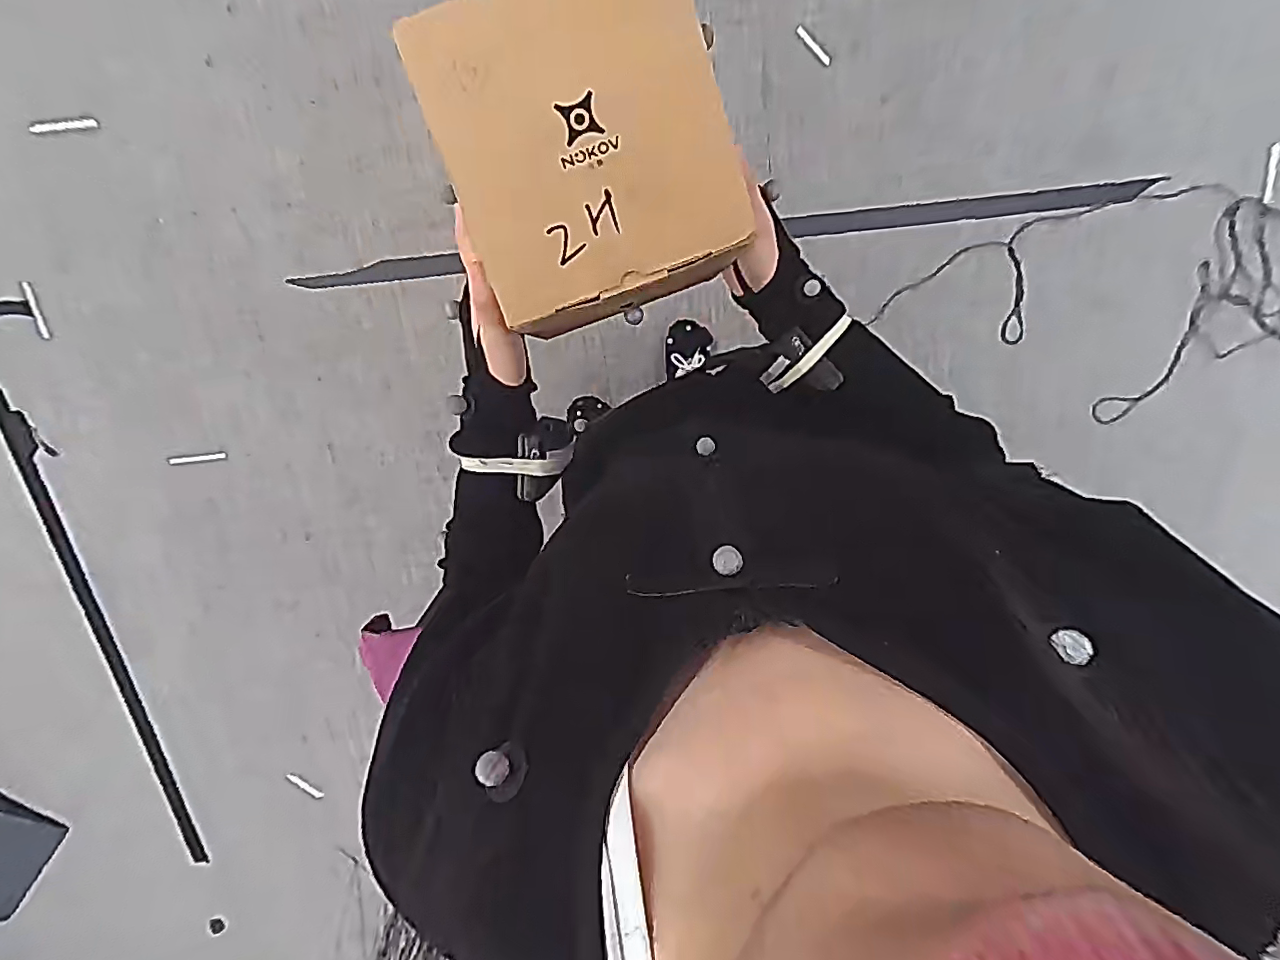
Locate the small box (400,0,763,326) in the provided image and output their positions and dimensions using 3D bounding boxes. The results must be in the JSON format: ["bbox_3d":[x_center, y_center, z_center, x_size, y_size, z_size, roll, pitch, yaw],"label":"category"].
[{"bbox_3d":[-0.033,-0.223,0.386,0.168,0.176,0.179,-19,103,2],"label":"small box"}]
